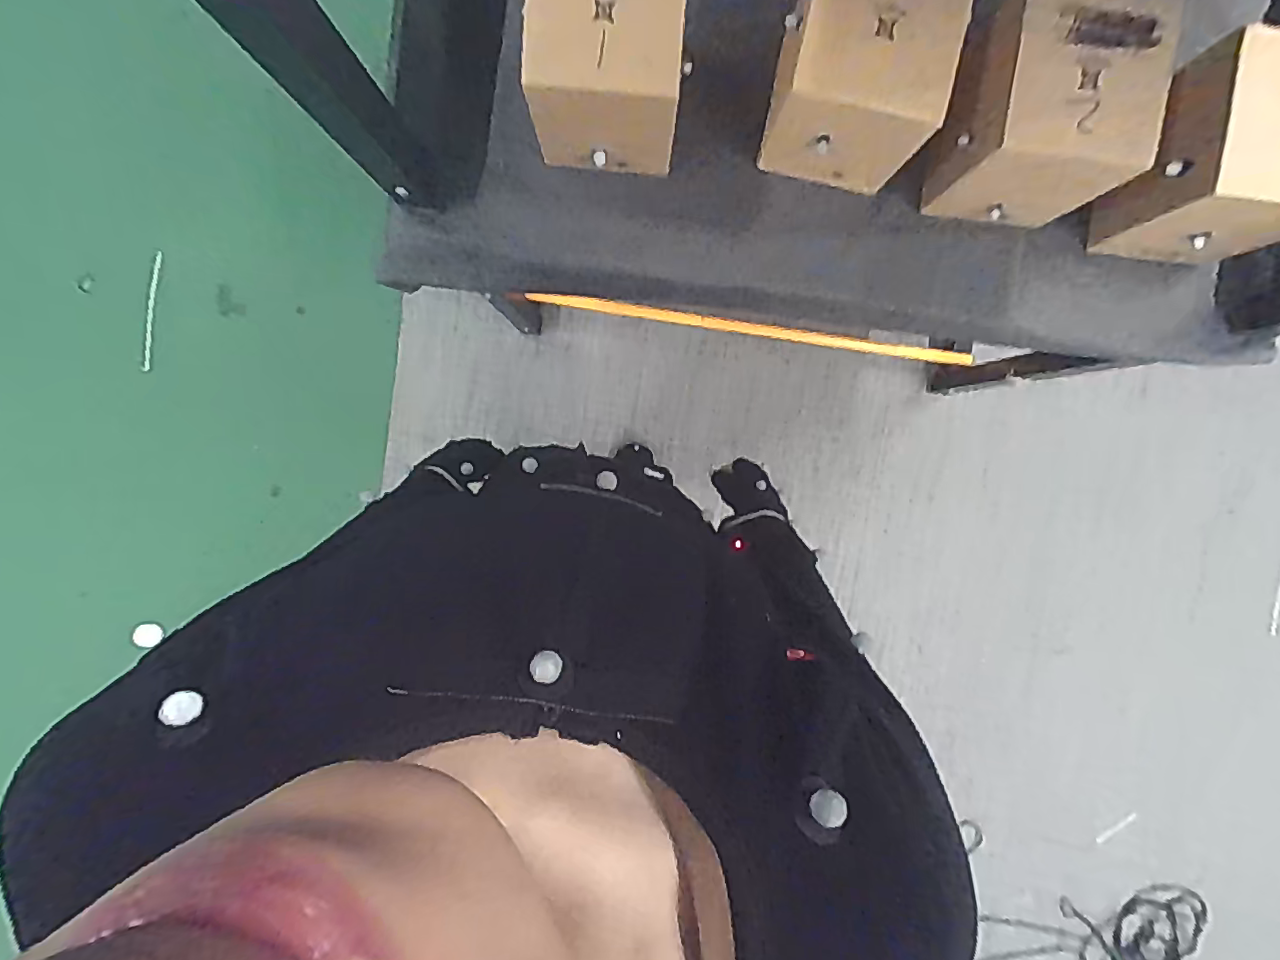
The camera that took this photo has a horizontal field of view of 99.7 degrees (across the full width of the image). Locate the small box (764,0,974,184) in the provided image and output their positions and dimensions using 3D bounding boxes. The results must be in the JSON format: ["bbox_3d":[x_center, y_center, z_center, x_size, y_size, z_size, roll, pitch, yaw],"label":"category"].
[{"bbox_3d":[0.256,-0.485,0.638,0.168,0.176,0.179,12,94,-2],"label":"small box"}]

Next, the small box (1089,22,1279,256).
[{"bbox_3d":[0.694,-0.388,0.649,0.168,0.176,0.179,7,94,-2],"label":"small box"}]

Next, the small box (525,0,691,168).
[{"bbox_3d":[-0.032,-0.501,0.630,0.168,0.176,0.179,5,95,-1],"label":"small box"}]
